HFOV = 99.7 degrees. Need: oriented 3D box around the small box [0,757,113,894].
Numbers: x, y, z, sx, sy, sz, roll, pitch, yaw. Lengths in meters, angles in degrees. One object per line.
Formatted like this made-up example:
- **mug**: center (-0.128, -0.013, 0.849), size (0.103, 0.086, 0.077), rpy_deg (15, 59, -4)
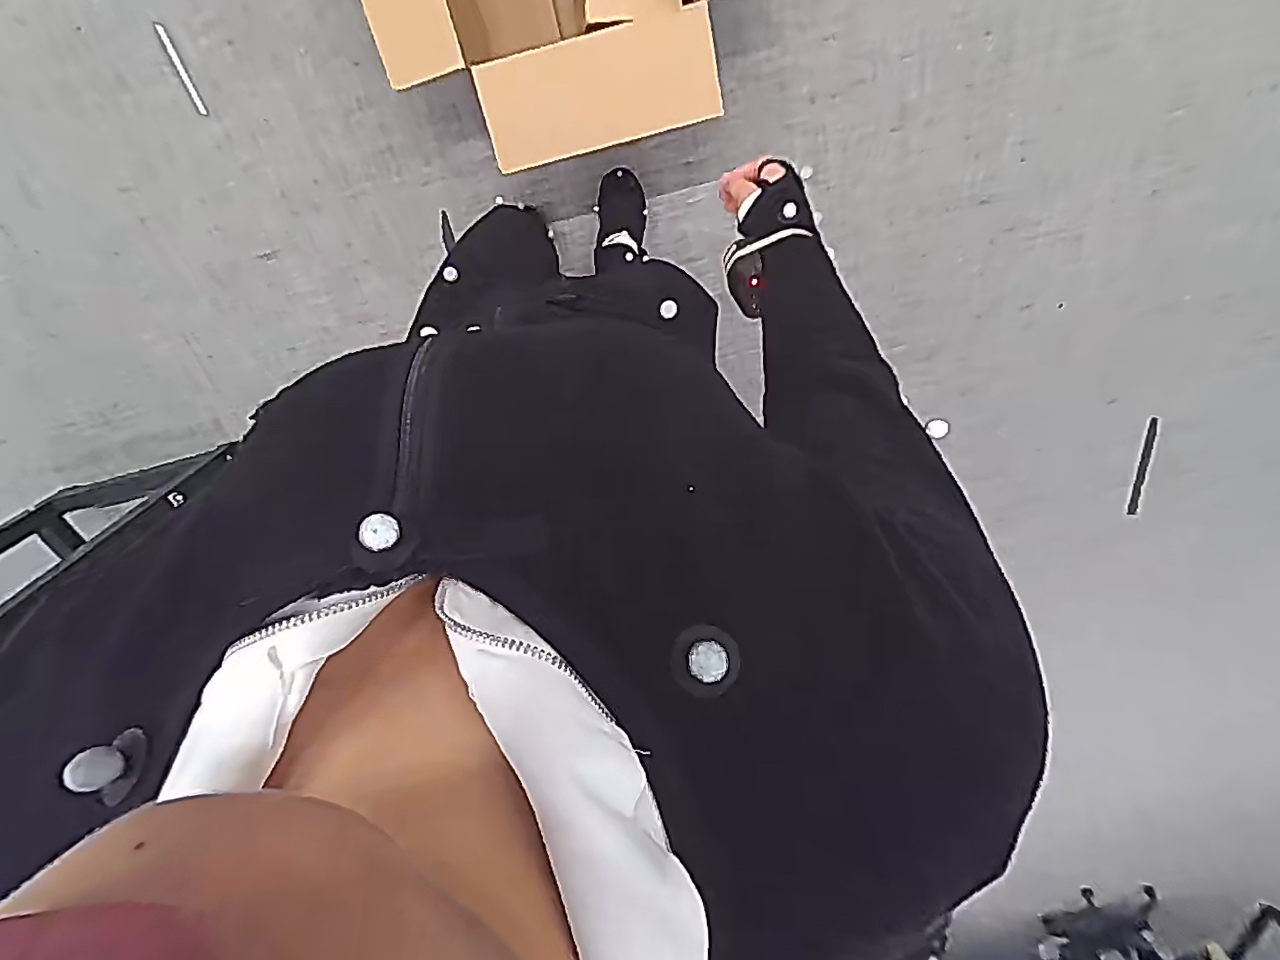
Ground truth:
- **small box**: center (-1.192, 0.652, 1.028), size (0.168, 0.176, 0.179), rpy_deg (-13, 120, 6)
